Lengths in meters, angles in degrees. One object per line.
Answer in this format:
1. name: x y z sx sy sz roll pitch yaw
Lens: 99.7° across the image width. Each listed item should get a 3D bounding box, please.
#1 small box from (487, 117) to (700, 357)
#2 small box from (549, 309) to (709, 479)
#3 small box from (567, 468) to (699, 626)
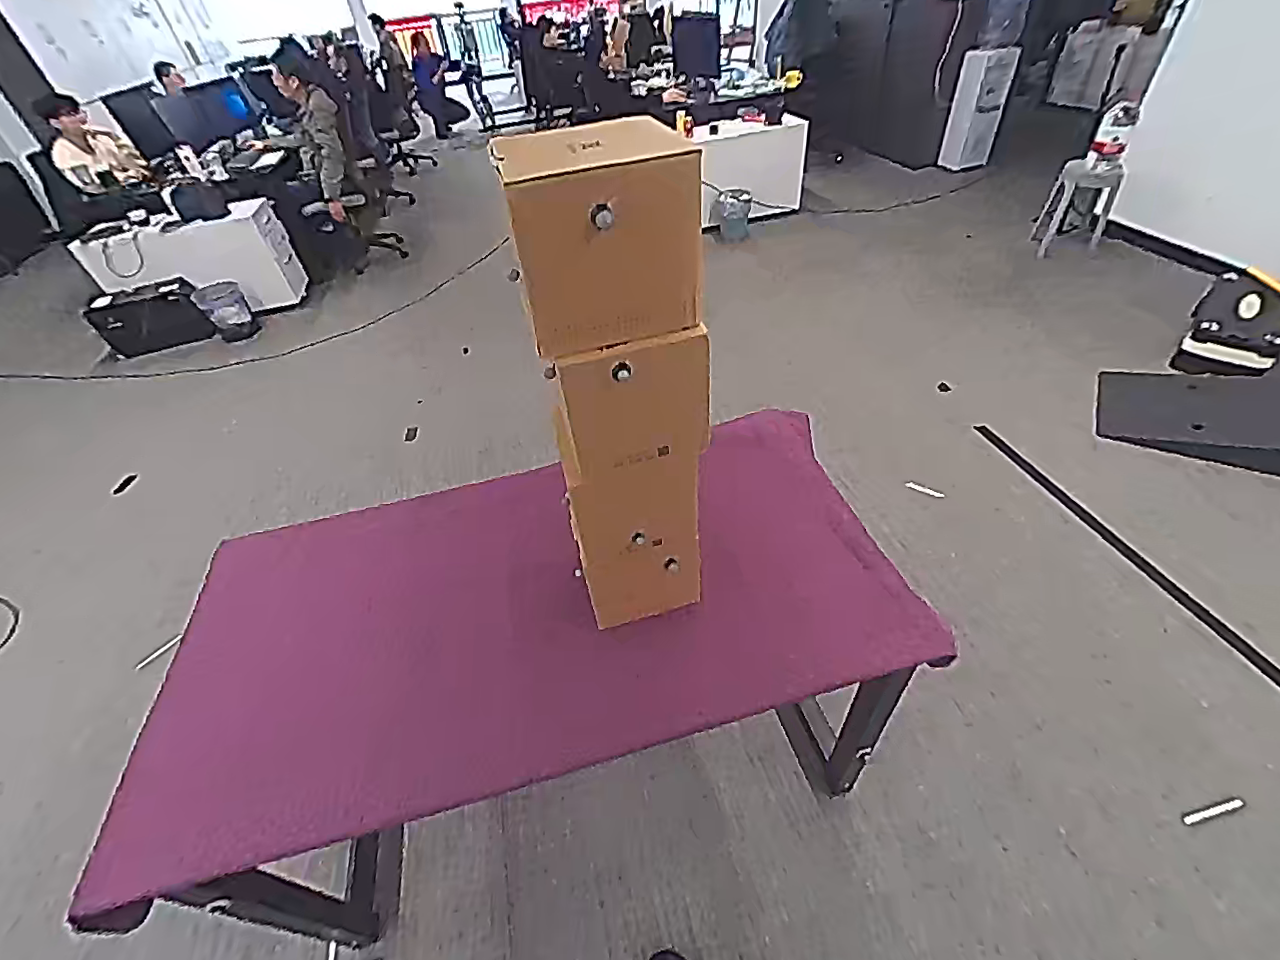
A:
1. small box: -0.046 -0.253 0.564 0.179 0.176 0.168 -15 44 -8
2. small box: -0.022 -0.129 0.669 0.168 0.176 0.179 -15 44 -8
3. small box: -0.011 0.111 0.891 0.179 0.176 0.168 -15 43 -7
